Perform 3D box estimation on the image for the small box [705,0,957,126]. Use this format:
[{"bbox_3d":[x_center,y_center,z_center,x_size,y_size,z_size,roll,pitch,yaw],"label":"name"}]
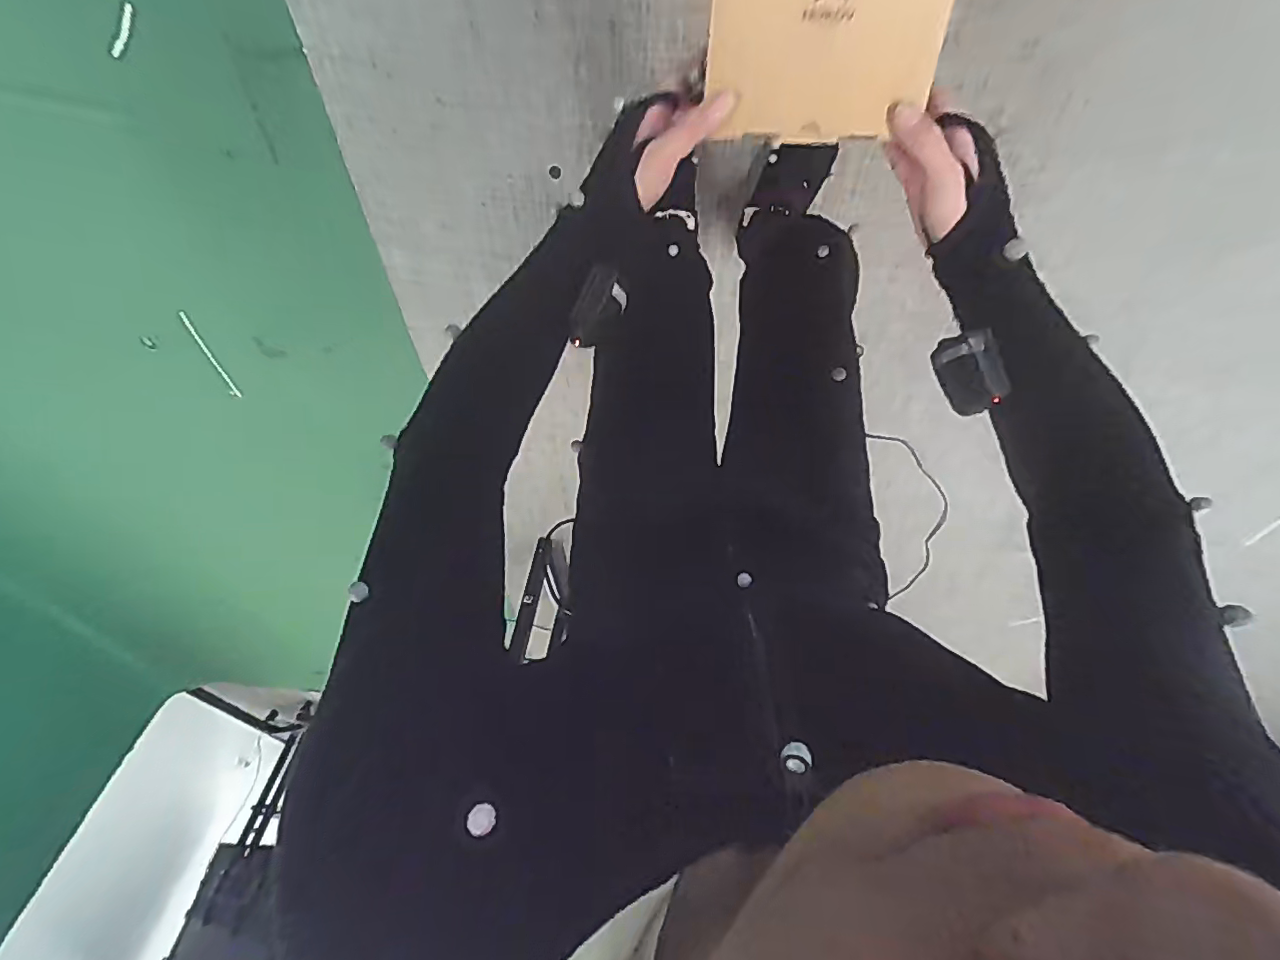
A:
[{"bbox_3d":[0.141,-0.390,0.427,0.168,0.176,0.179,4,126,4],"label":"small box"}]
